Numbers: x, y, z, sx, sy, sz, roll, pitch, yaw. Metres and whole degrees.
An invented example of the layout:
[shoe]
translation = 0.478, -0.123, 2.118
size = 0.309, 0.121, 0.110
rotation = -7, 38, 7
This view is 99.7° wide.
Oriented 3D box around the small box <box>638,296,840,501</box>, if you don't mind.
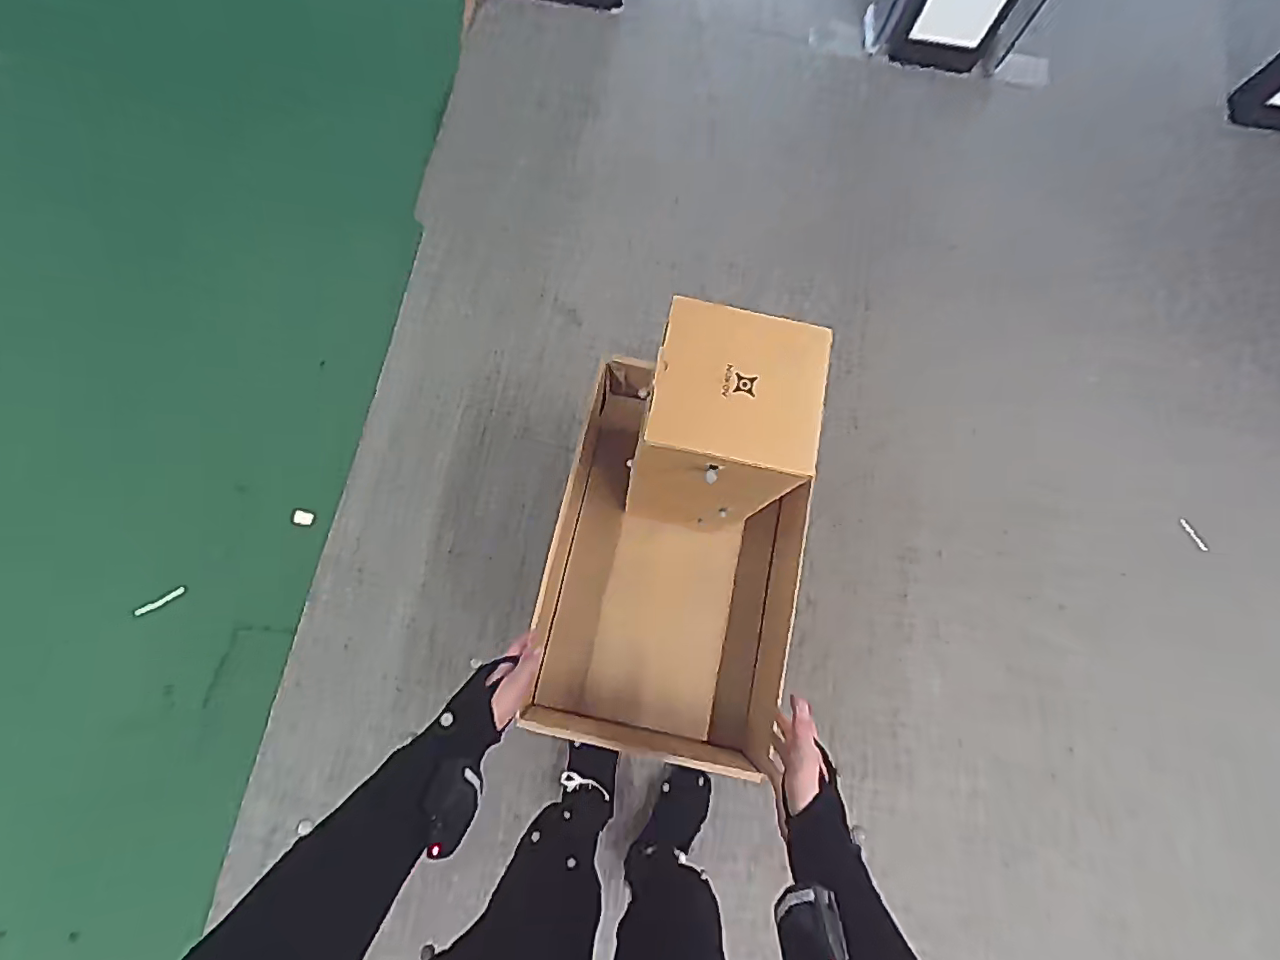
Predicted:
[small box]
translation = 0.102, -0.078, 0.619
size = 0.179, 0.176, 0.168
rotation = 12, 77, -1
